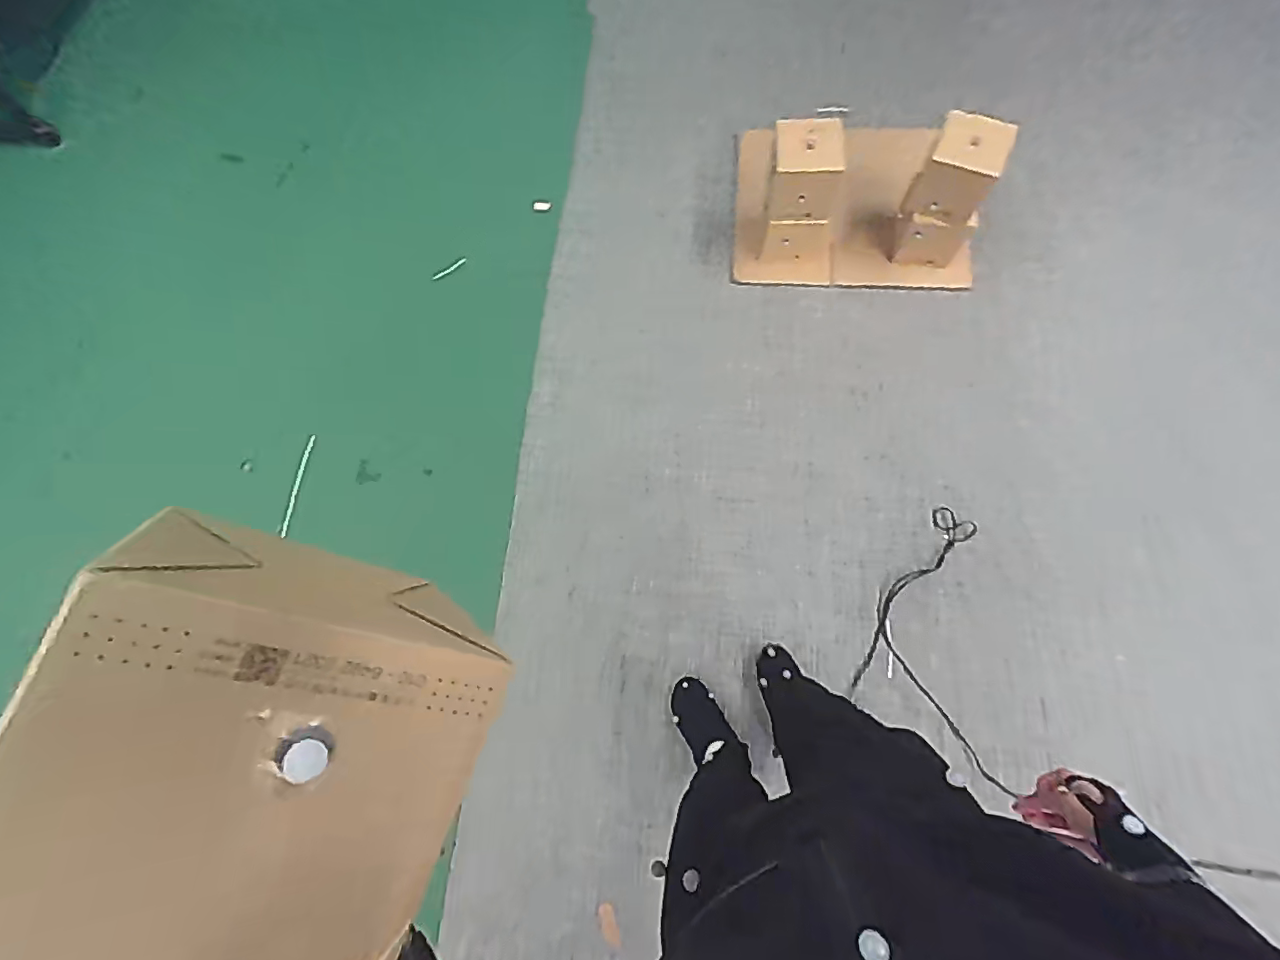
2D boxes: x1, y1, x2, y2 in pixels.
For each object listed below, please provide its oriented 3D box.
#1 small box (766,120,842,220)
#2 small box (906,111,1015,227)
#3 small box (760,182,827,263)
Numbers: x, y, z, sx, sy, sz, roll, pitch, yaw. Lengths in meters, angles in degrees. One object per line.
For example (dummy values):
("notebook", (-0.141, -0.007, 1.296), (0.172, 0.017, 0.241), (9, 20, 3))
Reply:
("small box", (0.434, -0.820, 1.444), (0.168, 0.176, 0.179), (2, 72, 5))
("small box", (0.822, -0.801, 1.402), (0.168, 0.176, 0.179), (24, 76, 11))
("small box", (0.449, -0.764, 1.598), (0.168, 0.176, 0.179), (2, 72, 5))
